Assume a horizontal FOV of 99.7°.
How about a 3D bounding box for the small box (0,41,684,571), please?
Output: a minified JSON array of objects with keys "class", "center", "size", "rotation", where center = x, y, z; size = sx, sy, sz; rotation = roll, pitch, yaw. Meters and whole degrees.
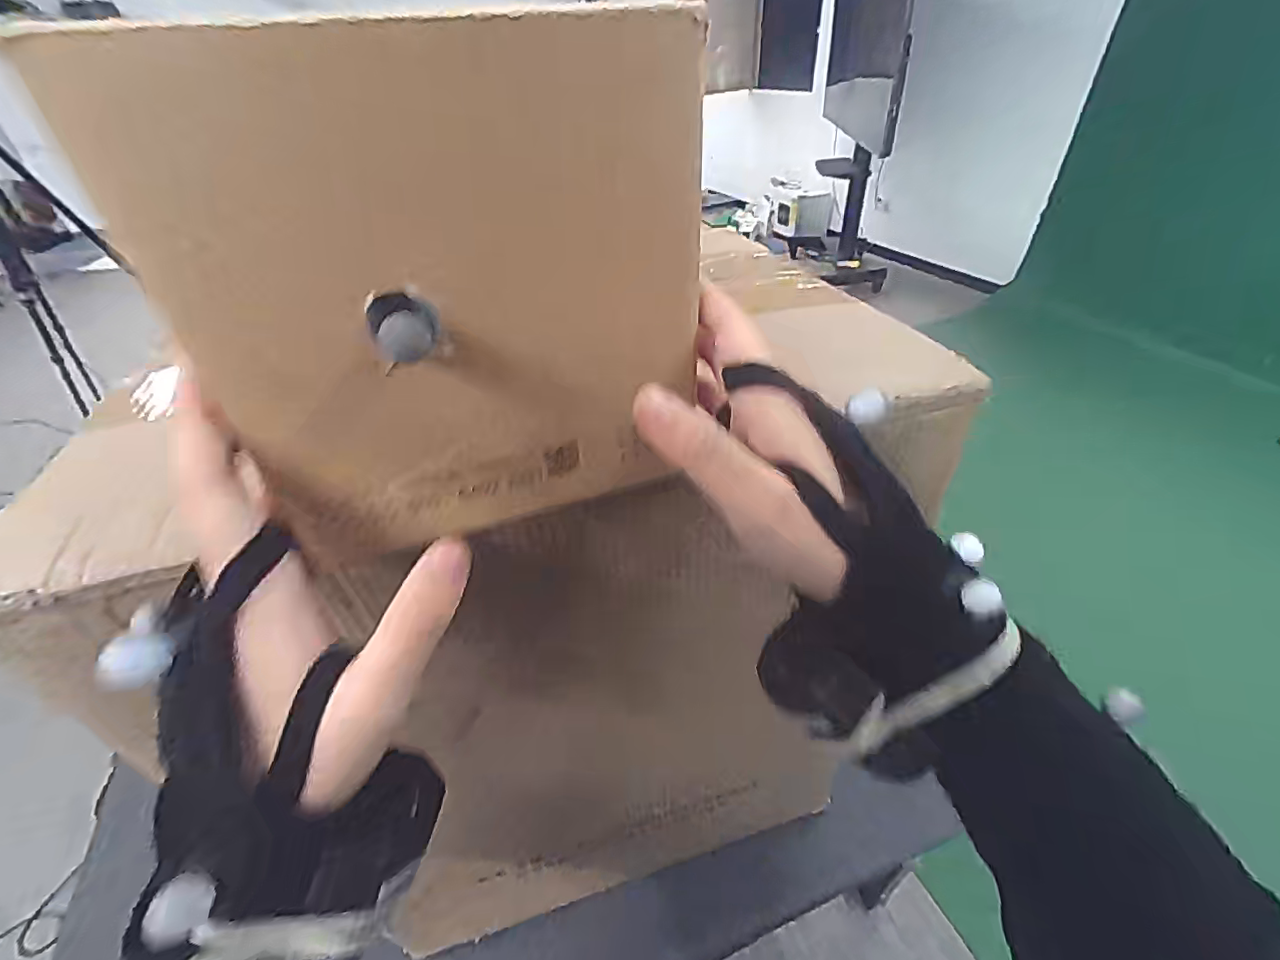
[{"class":"small box","center":[-0.085,-0.081,0.244],"size":[0.168,0.176,0.179],"rotation":[-16,39,-15]}]
